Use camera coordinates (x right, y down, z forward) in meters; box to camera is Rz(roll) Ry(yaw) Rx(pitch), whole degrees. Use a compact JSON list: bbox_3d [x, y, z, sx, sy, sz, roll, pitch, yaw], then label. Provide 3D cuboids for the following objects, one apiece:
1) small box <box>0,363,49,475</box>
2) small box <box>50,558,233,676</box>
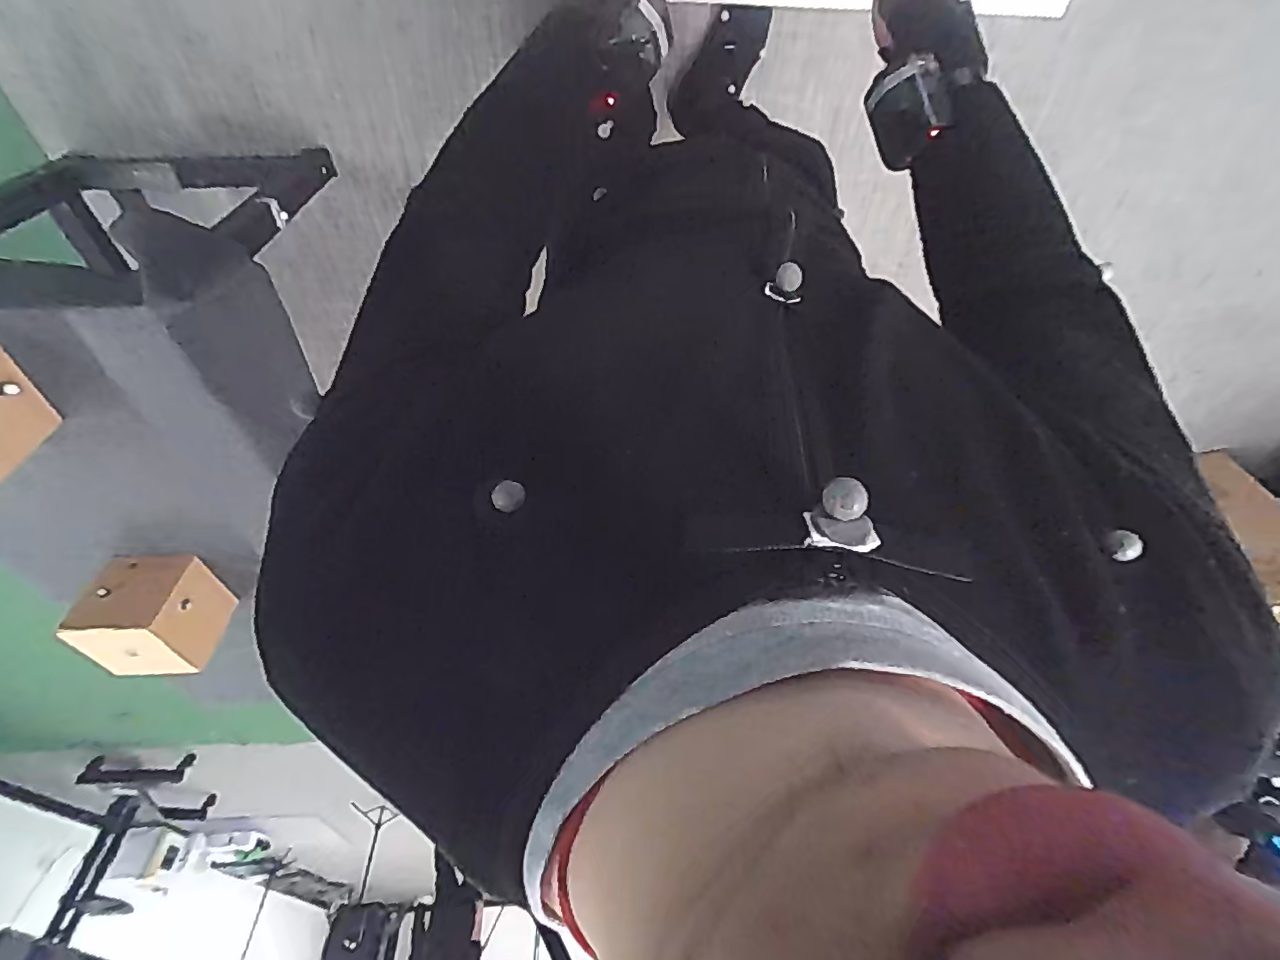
[{"bbox_3d":[-0.940,-0.089,0.681,0.168,0.176,0.179,1,137,-7],"label":"small box"},{"bbox_3d":[-0.956,0.264,1.060,0.168,0.176,0.179,-2,138,-3],"label":"small box"}]
